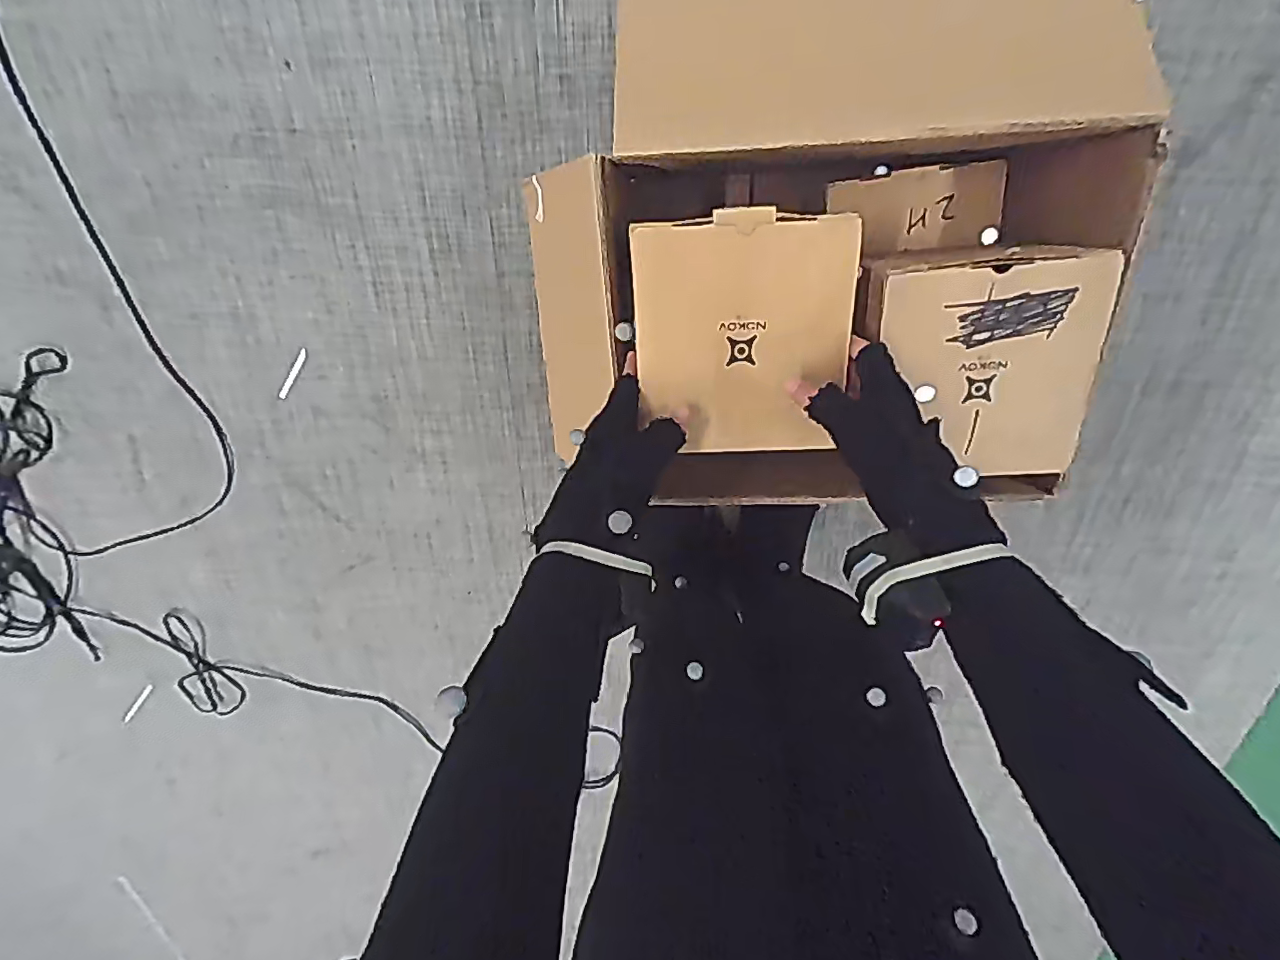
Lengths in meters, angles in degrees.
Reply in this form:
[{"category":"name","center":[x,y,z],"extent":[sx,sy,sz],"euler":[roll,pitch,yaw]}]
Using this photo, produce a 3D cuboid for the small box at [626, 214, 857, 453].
[{"category":"small box","center":[0.078,-0.133,0.486],"extent":[0.168,0.176,0.179],"euler":[-2,111,3]}]
